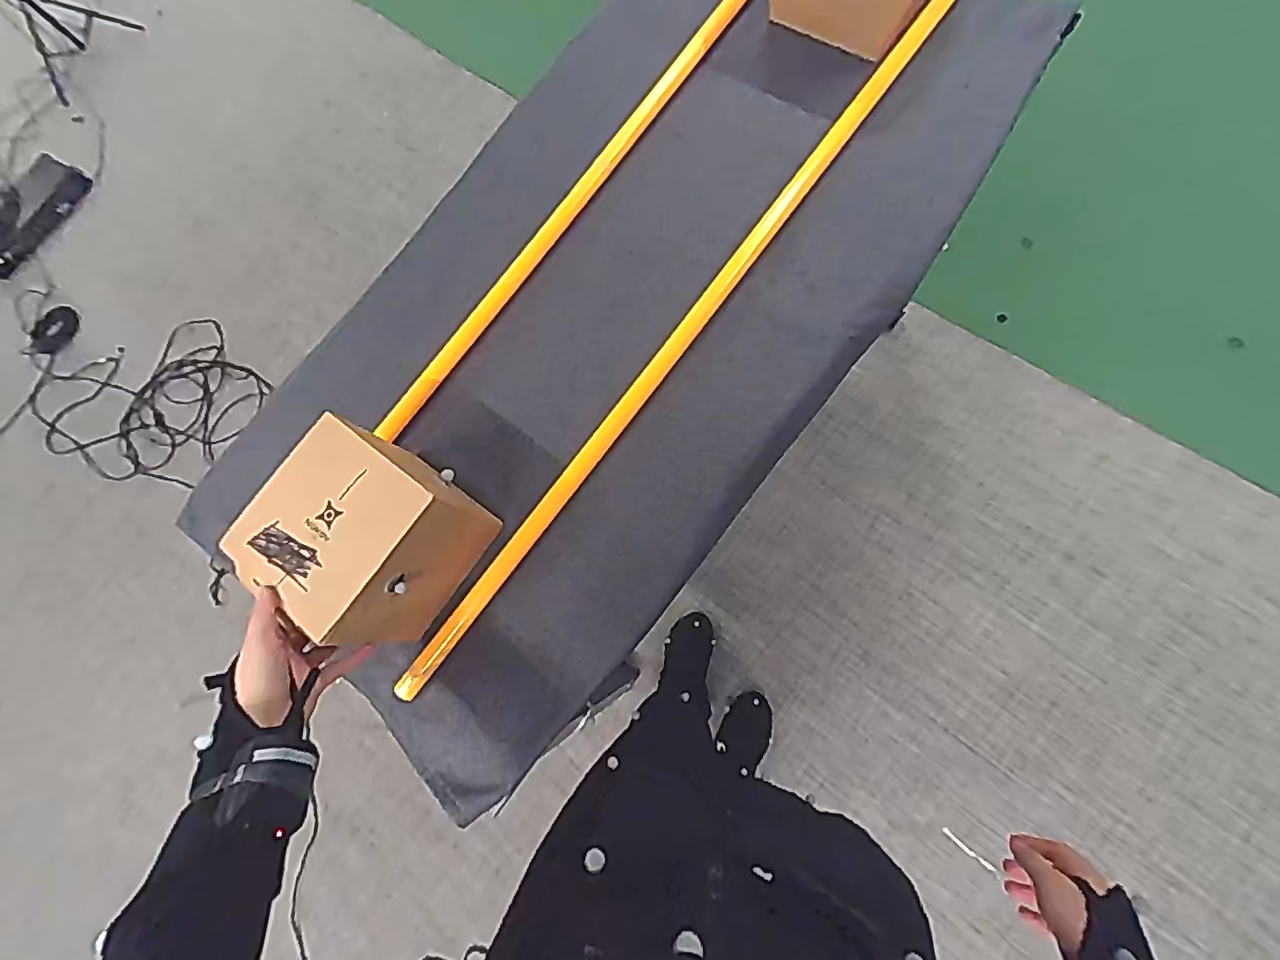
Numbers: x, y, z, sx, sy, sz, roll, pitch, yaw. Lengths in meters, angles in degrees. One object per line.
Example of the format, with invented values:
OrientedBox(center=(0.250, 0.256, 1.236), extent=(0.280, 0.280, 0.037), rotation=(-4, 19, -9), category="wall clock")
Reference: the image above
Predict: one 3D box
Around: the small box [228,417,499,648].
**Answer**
OrientedBox(center=(-0.291, 0.066, 0.609), extent=(0.168, 0.176, 0.179), rotation=(34, 83, 16), category="small box")
